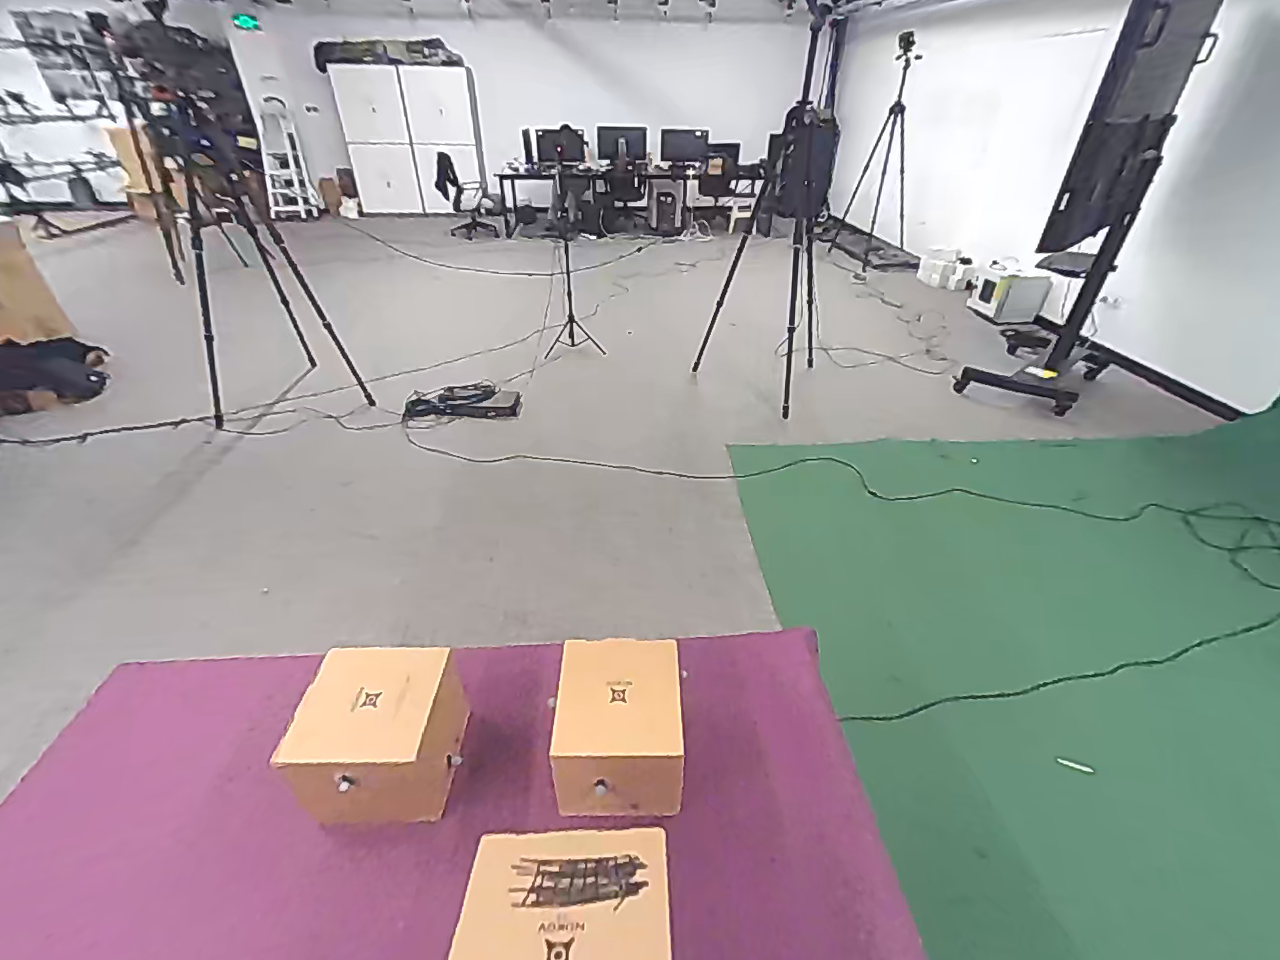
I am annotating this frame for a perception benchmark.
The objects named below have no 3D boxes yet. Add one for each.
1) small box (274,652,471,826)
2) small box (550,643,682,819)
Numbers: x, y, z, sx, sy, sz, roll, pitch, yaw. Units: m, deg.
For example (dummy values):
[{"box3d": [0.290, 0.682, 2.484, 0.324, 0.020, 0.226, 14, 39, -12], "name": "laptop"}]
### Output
[{"box3d": [-0.355, 0.363, 0.759, 0.179, 0.176, 0.168, 1, 35, 0], "name": "small box"}, {"box3d": [-0.027, 0.355, 0.768, 0.168, 0.176, 0.179, 0, 34, 0], "name": "small box"}]
